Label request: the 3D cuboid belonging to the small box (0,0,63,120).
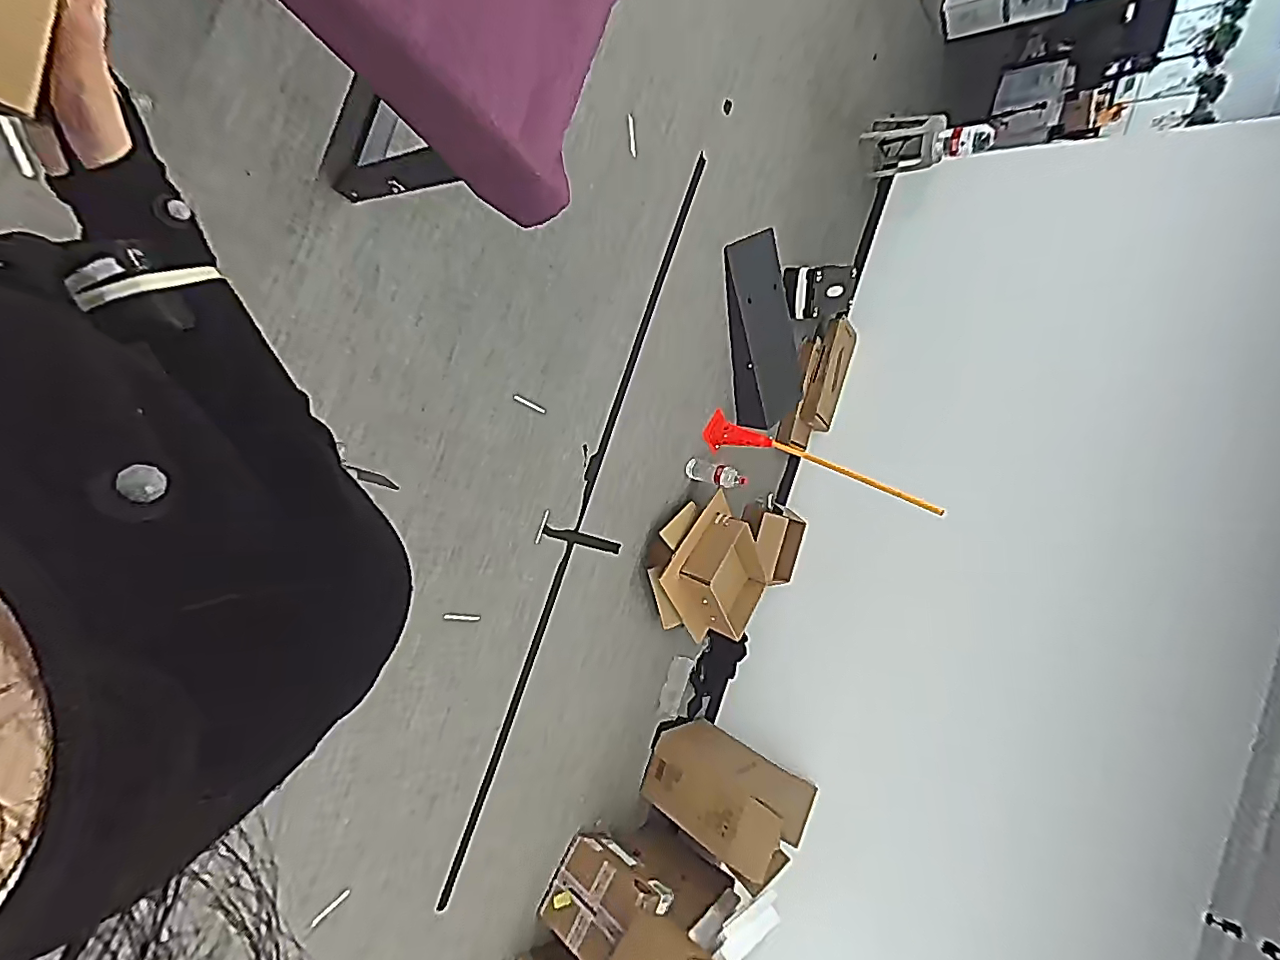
[{"bbox_3d":[-0.404,-0.313,0.264,0.168,0.176,0.179,11,103,-56],"label":"small box"}]
